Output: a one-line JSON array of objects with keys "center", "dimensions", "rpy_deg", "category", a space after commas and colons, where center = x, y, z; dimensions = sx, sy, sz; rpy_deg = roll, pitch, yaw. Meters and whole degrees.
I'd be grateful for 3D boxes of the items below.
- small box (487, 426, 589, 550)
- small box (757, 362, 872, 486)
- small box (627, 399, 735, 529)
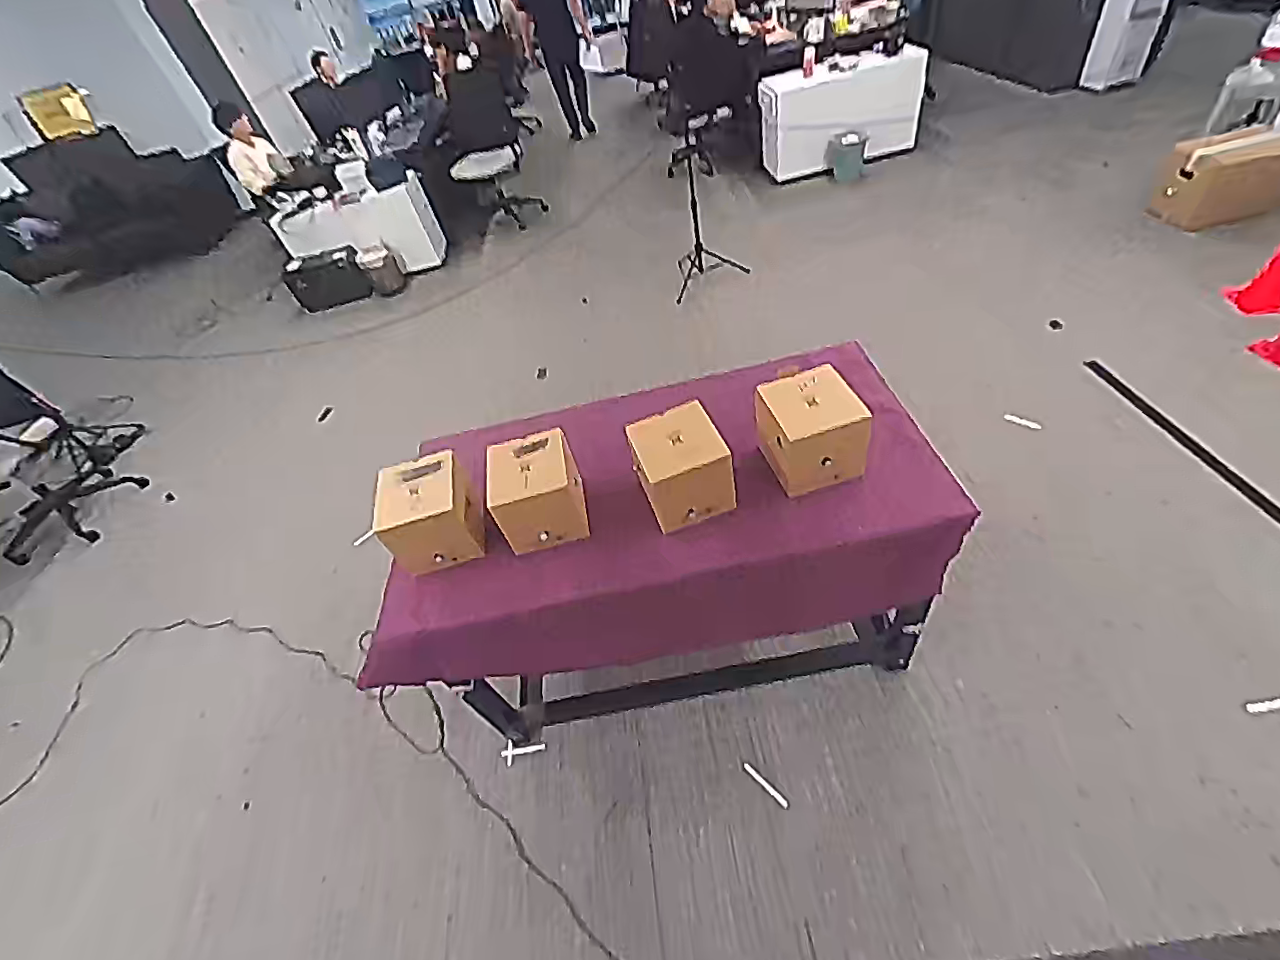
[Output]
[{"center": [-0.214, 0.019, 1.149], "dimensions": [0.168, 0.176, 0.179], "rpy_deg": [-15, 47, 1], "category": "small box"}, {"center": [0.352, -0.108, 1.112], "dimensions": [0.168, 0.176, 0.179], "rpy_deg": [-17, 46, -1], "category": "small box"}, {"center": [0.086, -0.032, 1.117], "dimensions": [0.168, 0.176, 0.179], "rpy_deg": [-20, 46, -3], "category": "small box"}]
